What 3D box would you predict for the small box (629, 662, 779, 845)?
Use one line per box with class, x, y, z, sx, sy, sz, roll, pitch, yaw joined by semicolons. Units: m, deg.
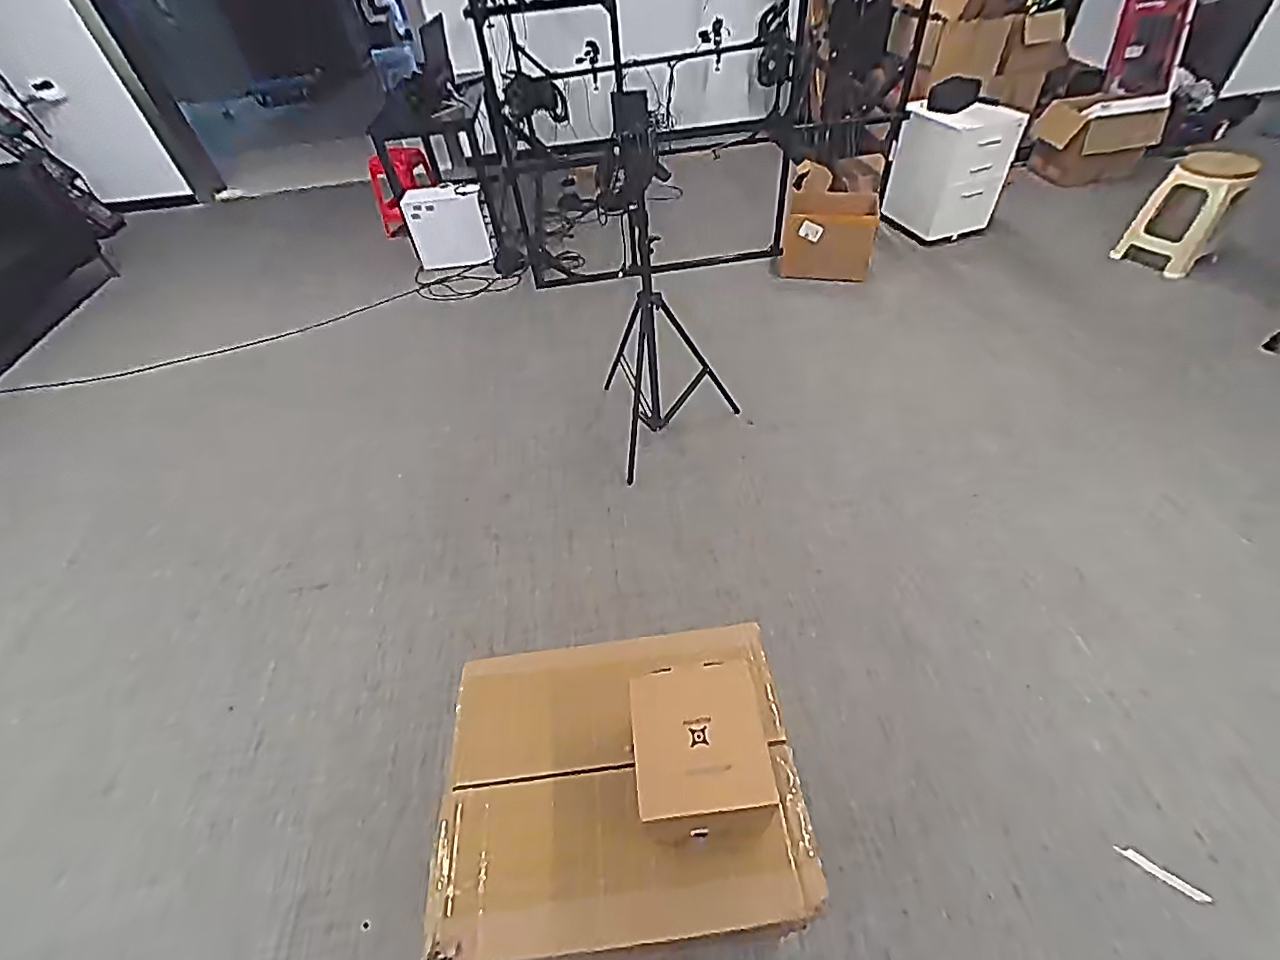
small box;0.080;0.374;0.738;0.168;0.176;0.179;-9;49;1
